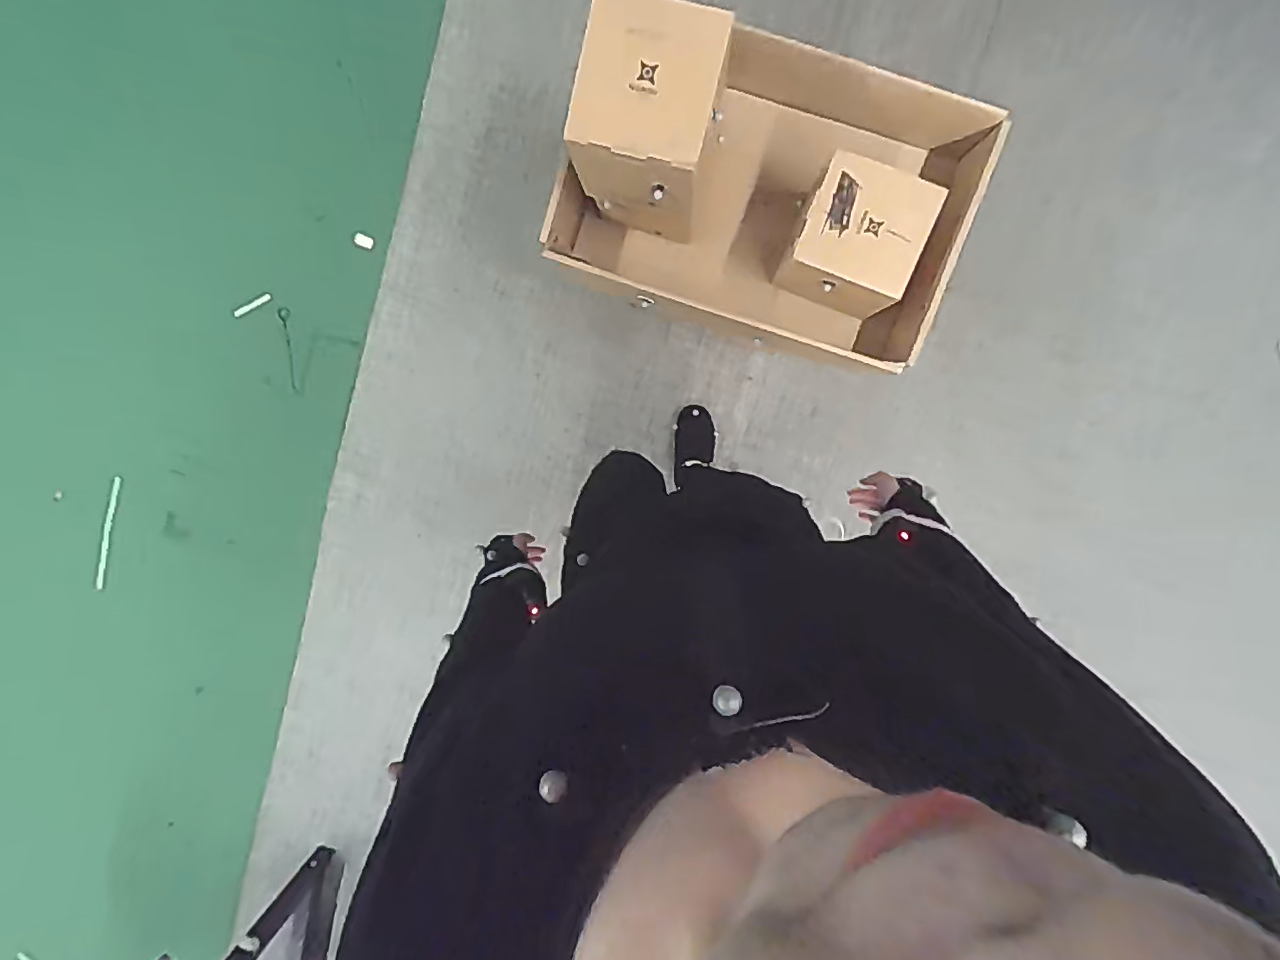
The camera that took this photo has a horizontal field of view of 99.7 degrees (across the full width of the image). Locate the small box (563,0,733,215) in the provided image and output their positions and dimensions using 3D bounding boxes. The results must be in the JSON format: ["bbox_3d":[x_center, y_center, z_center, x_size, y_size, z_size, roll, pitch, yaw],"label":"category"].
[{"bbox_3d":[0.014,-0.474,0.704,0.168,0.176,0.179,15,97,2],"label":"small box"}]
